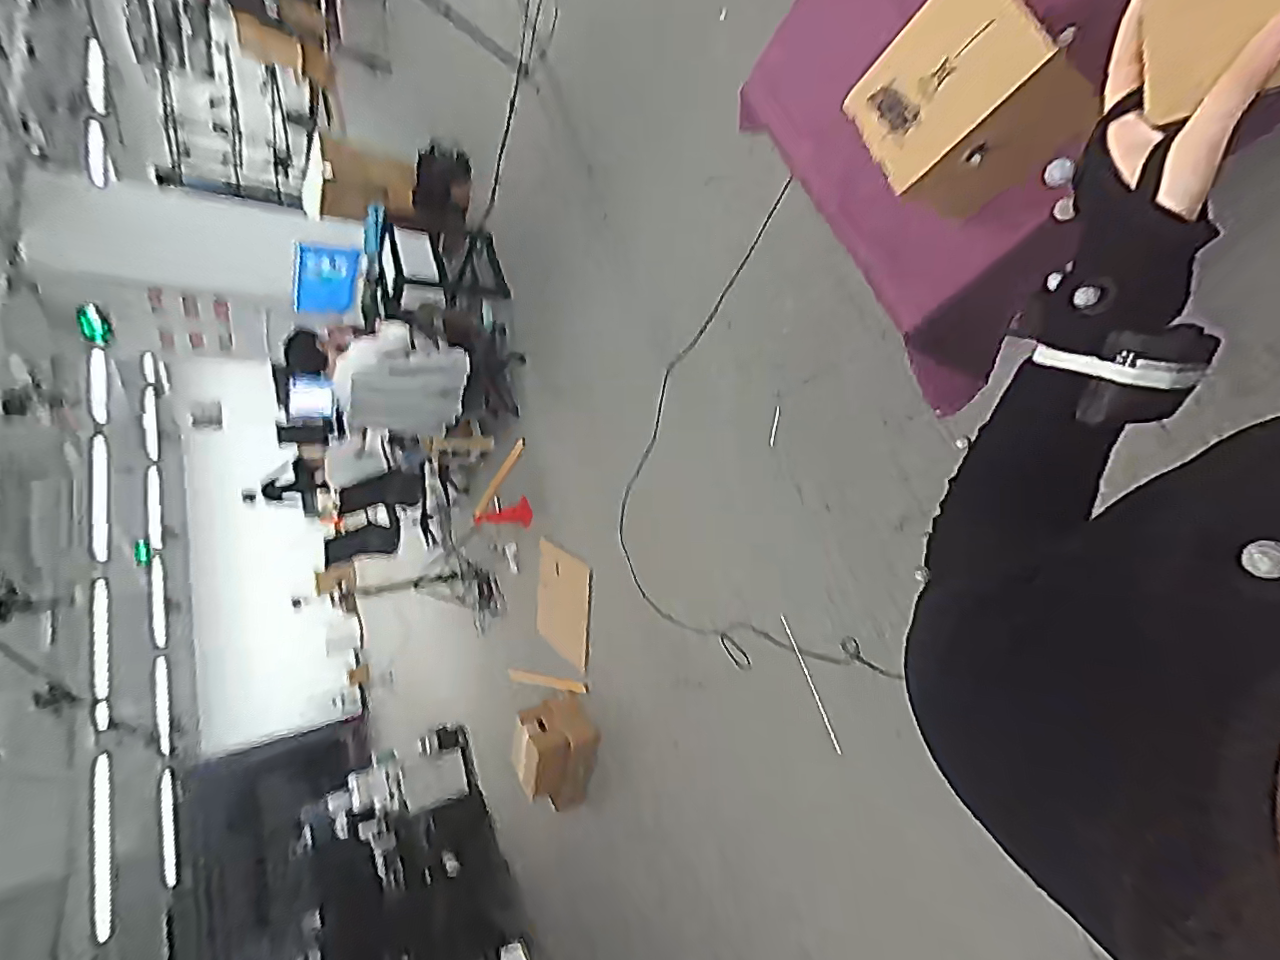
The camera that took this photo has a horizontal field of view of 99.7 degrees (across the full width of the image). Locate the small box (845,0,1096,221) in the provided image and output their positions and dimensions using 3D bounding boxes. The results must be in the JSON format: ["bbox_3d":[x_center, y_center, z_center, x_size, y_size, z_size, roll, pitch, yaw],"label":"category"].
[{"bbox_3d":[0.397,-0.451,0.658,0.179,0.176,0.168,-40,63,48],"label":"small box"}]
